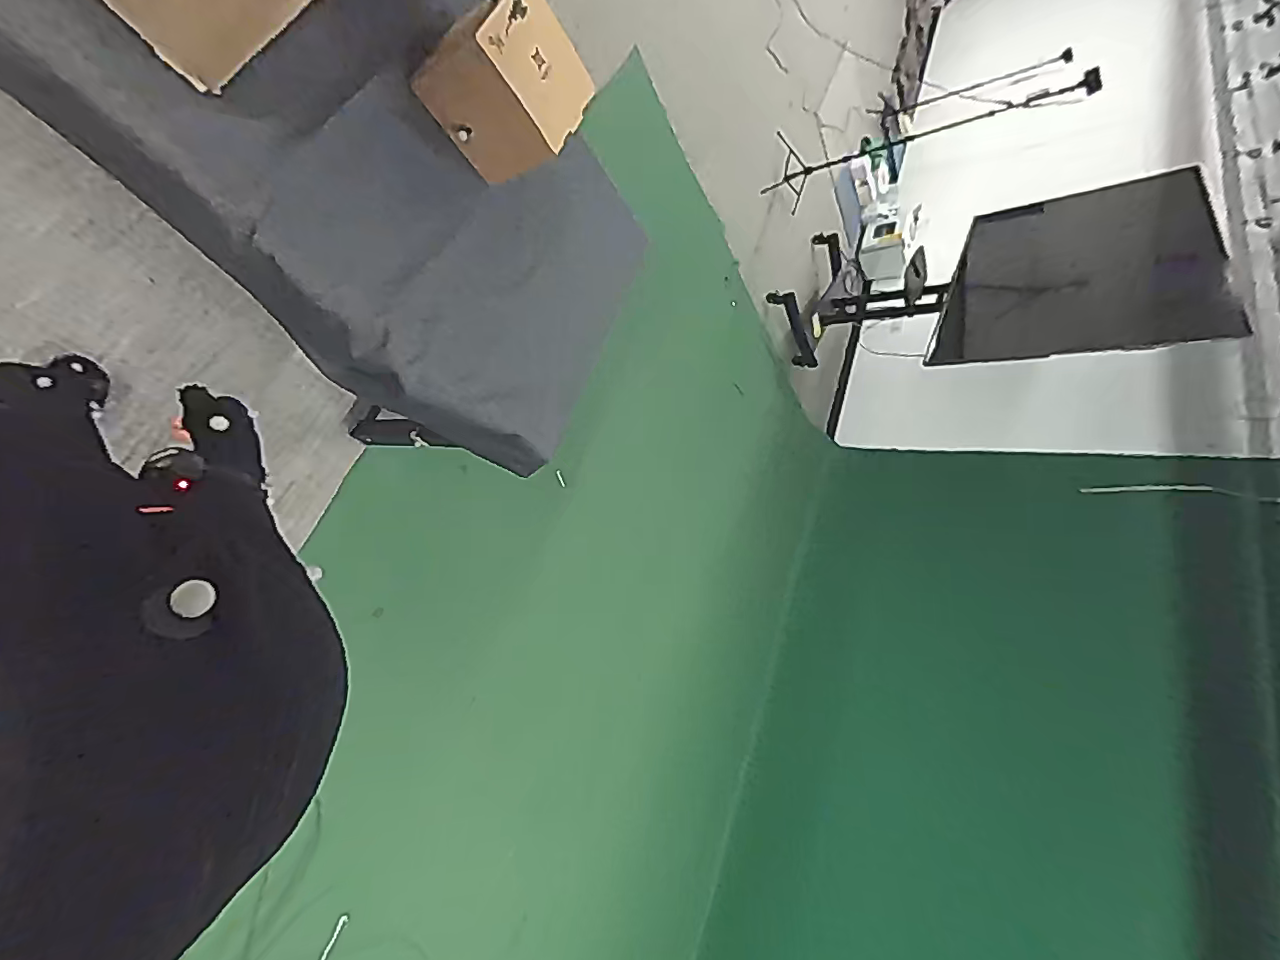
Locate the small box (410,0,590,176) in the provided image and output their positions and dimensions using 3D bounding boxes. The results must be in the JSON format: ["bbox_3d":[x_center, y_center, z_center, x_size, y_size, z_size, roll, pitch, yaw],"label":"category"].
[{"bbox_3d":[-0.215,-0.609,0.845,0.179,0.176,0.168,43,60,-45],"label":"small box"}]
